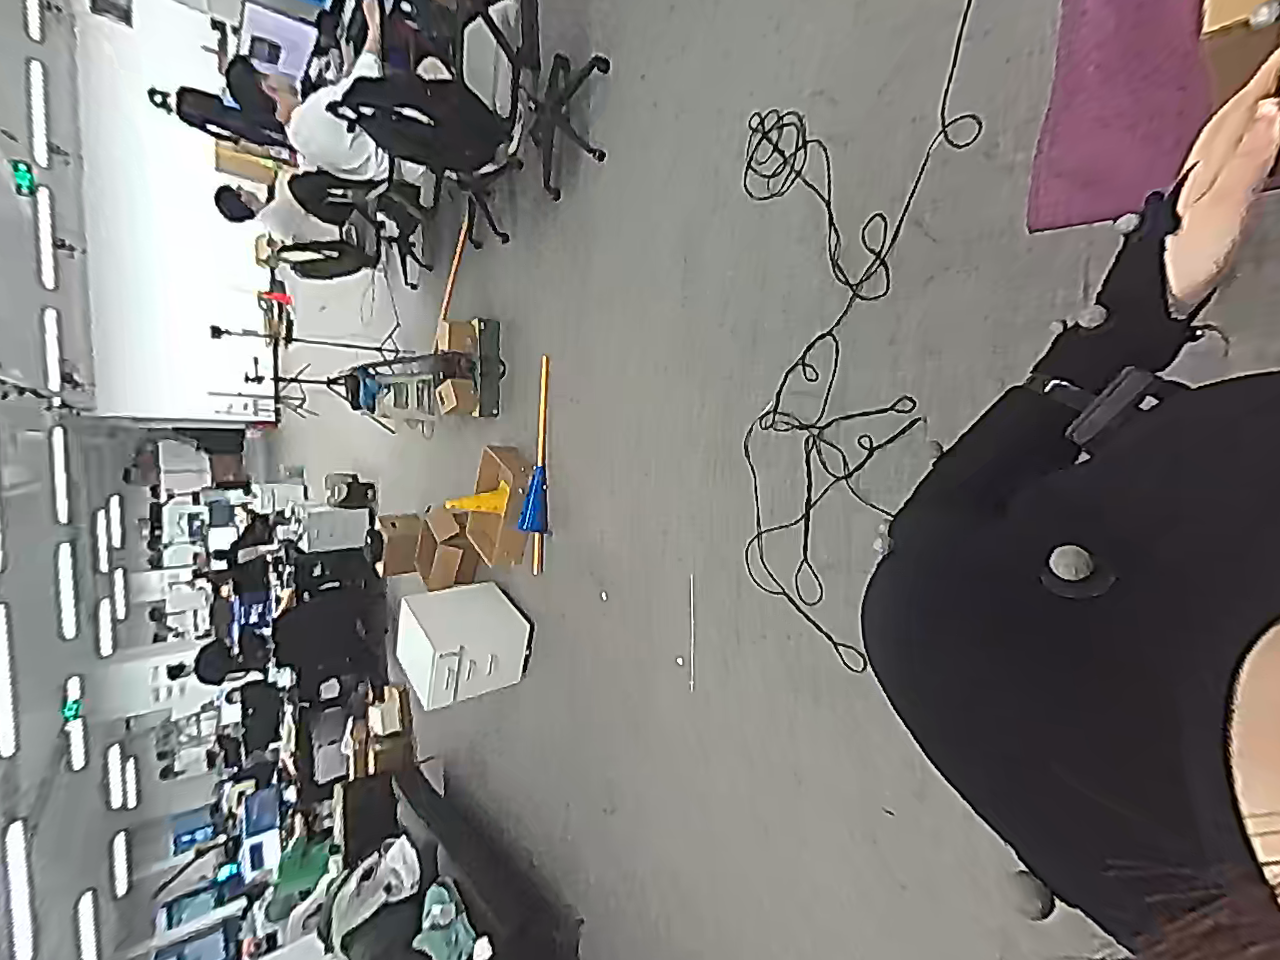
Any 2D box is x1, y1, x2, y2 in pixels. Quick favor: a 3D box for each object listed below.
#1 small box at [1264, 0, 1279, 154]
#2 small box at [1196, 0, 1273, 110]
[{"bbox_3d":[0.414,-0.283,0.242,0.168,0.176,0.179,5,95,47],"label":"small box"},{"bbox_3d":[0.575,-0.453,0.435,0.168,0.176,0.179,3,93,50],"label":"small box"}]
